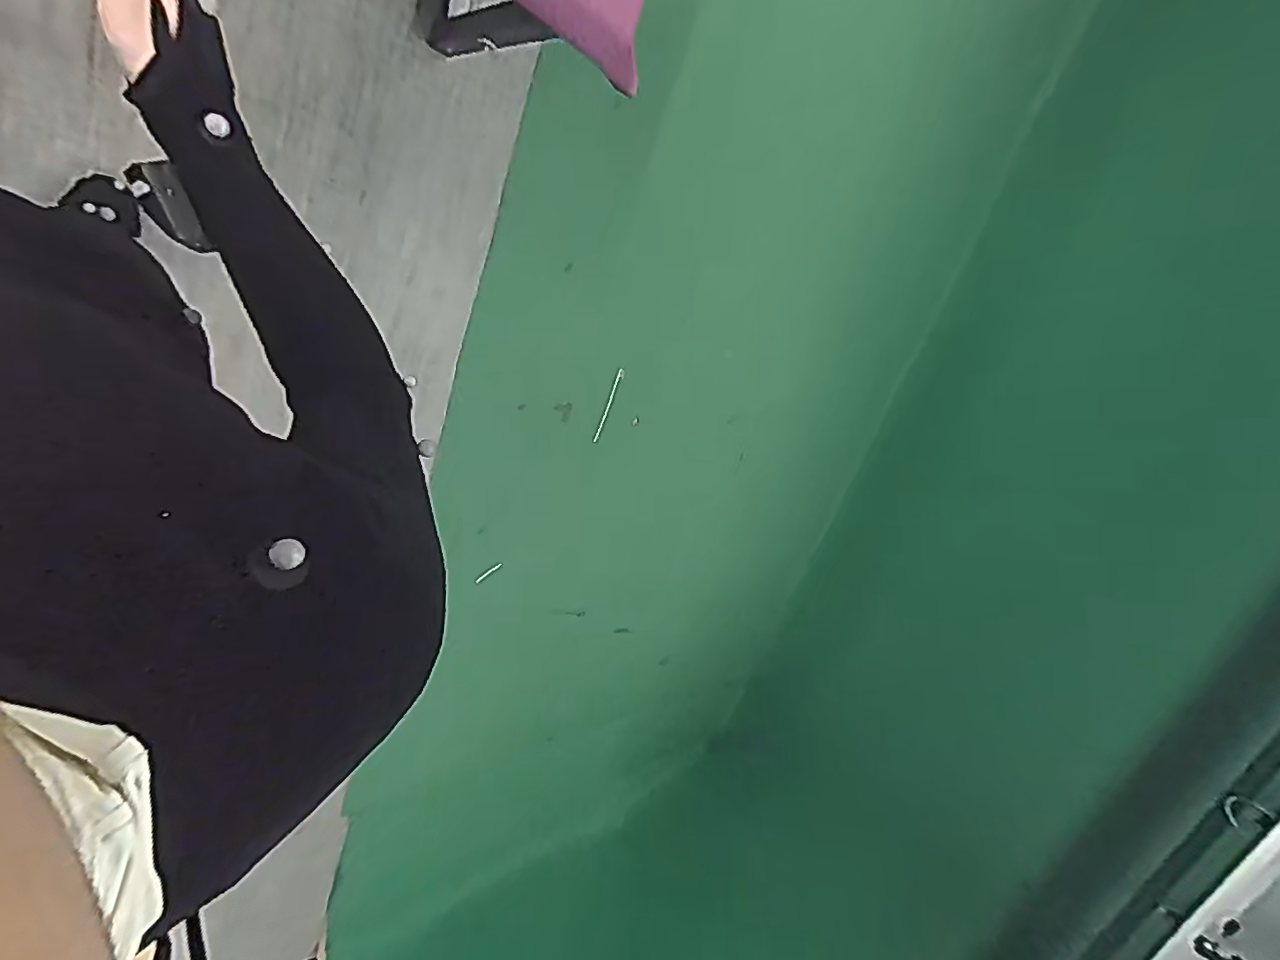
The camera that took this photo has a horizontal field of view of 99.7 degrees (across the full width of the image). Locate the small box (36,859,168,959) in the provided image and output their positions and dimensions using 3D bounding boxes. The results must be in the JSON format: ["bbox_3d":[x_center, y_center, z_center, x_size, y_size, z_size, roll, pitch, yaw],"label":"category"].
[{"bbox_3d":[-1.042,0.894,1.045,0.168,0.176,0.179,8,110,-48],"label":"small box"}]
